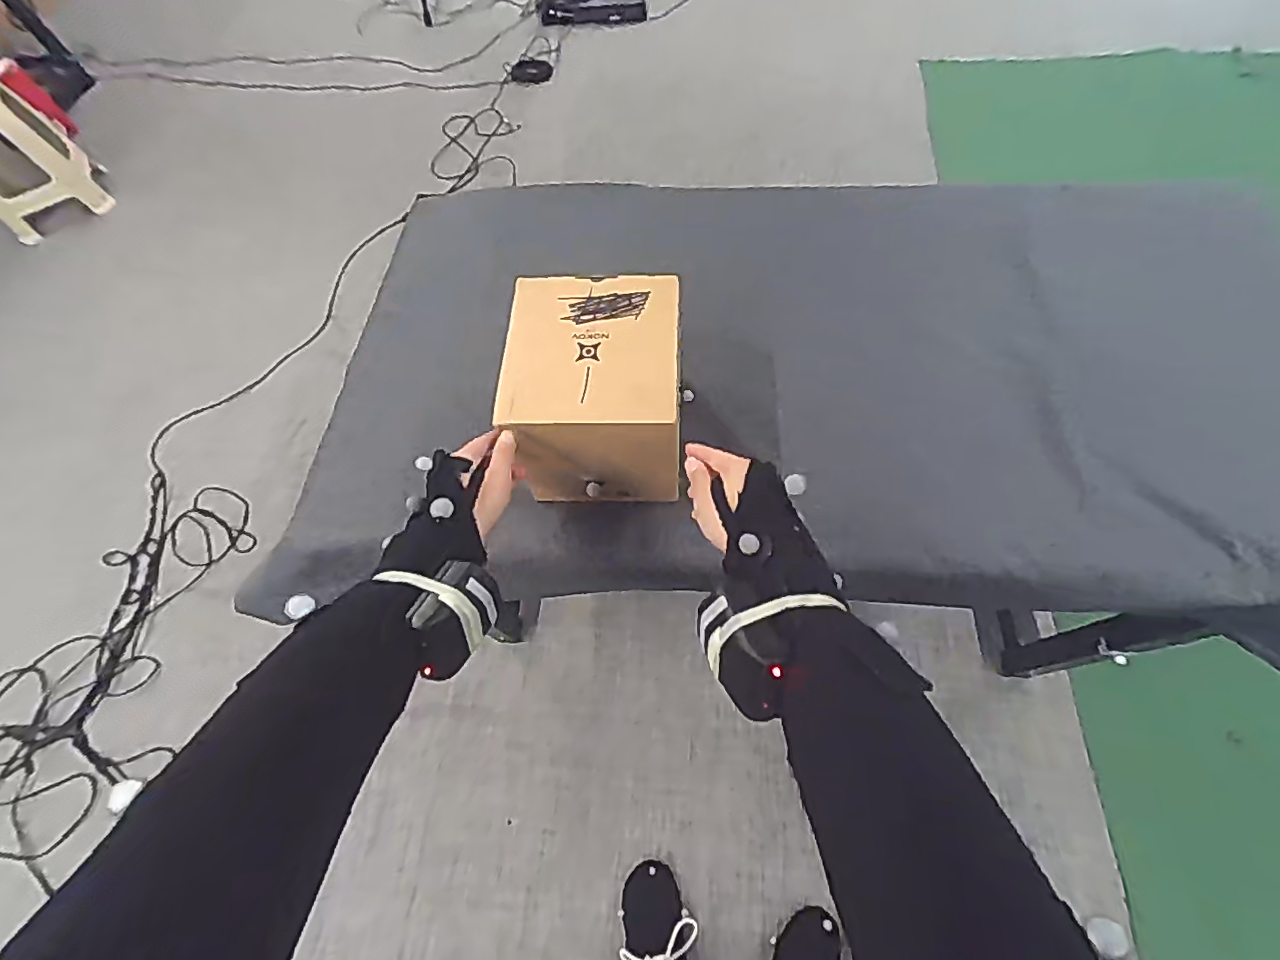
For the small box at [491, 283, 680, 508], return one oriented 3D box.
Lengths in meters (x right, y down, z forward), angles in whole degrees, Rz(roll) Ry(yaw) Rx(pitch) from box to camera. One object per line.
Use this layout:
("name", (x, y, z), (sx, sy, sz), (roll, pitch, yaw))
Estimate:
("small box", (-0.042, -0.084, 0.577), (0.168, 0.176, 0.179), (0, 64, 5))
